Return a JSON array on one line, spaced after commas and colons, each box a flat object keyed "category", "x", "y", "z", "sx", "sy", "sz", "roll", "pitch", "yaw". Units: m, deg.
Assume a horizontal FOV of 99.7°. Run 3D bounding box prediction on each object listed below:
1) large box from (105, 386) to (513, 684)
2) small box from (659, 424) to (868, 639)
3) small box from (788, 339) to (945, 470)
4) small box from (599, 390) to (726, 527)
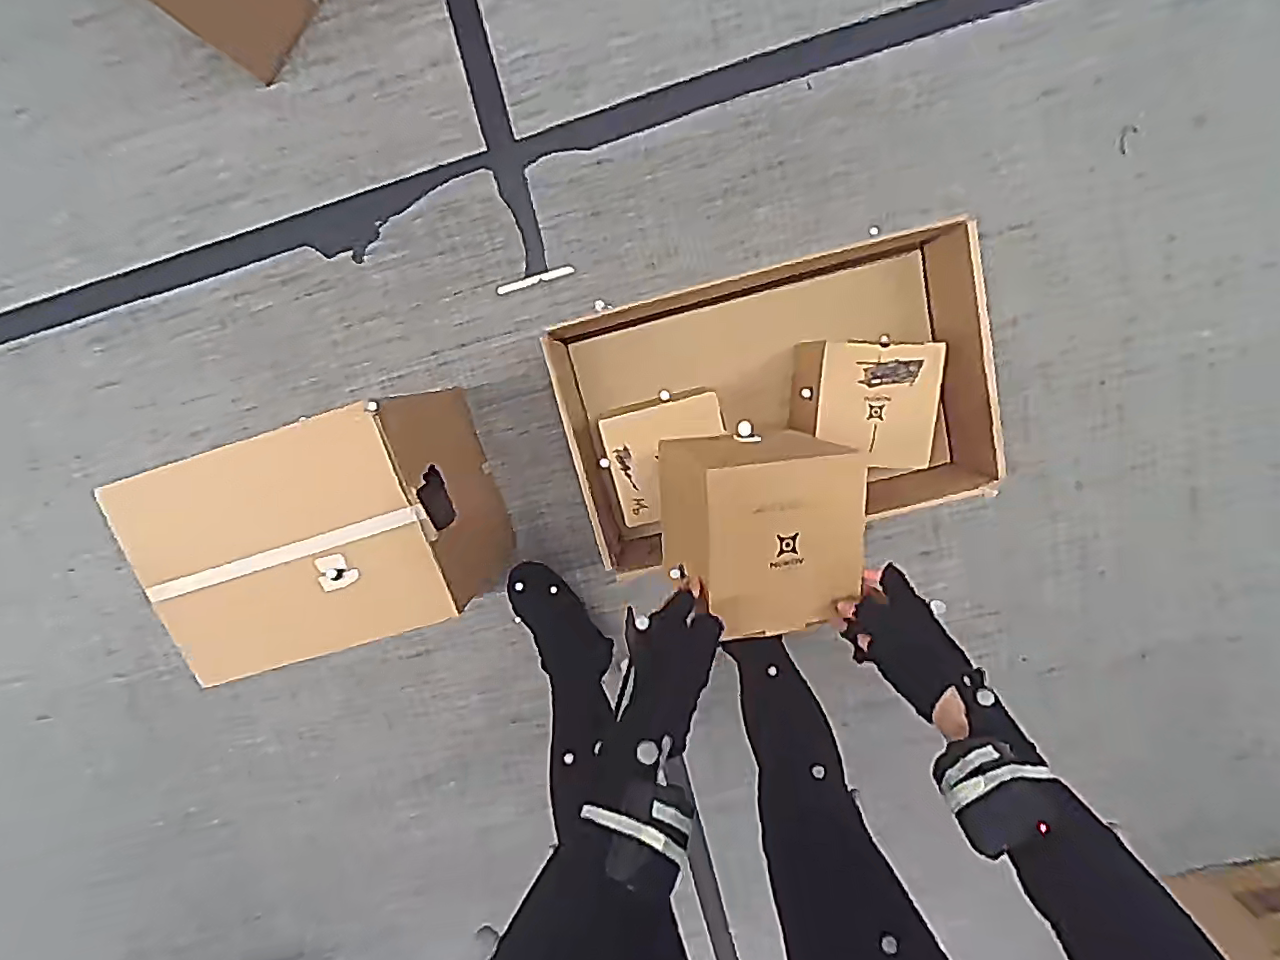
[{"category": "large box", "x": -0.475, "y": 0.060, "z": 0.870, "sx": 0.408, "sy": 0.320, "sz": 0.320, "roll": -18, "pitch": 102, "yaw": 5}, {"category": "small box", "x": 0.122, "y": 0.043, "z": 0.589, "sx": 0.168, "sy": 0.176, "sz": 0.179, "roll": -7, "pitch": 104, "yaw": -11}, {"category": "small box", "x": 0.330, "y": -0.119, "z": 0.825, "sx": 0.168, "sy": 0.176, "sz": 0.179, "roll": 3, "pitch": 103, "yaw": 2}, {"category": "small box", "x": 0.042, "y": -0.043, "z": 0.849, "sx": 0.179, "sy": 0.176, "sz": 0.168, "roll": -14, "pitch": 100, "yaw": 3}]
